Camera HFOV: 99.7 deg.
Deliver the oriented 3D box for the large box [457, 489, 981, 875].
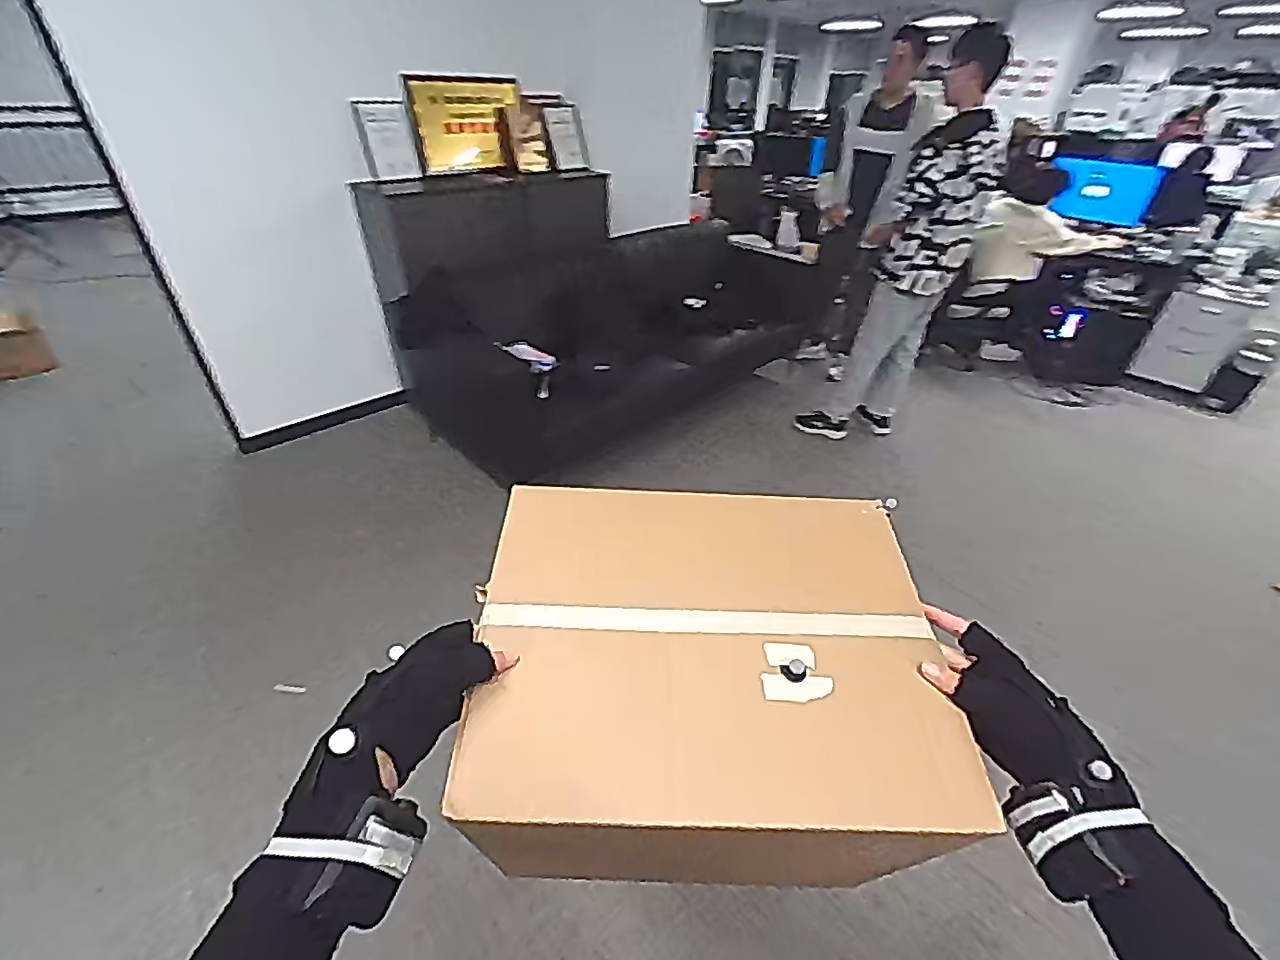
[{"bbox_3d":[0.050,0.229,0.606,0.408,0.320,0.320,2,48,-3],"label":"large box"}]
